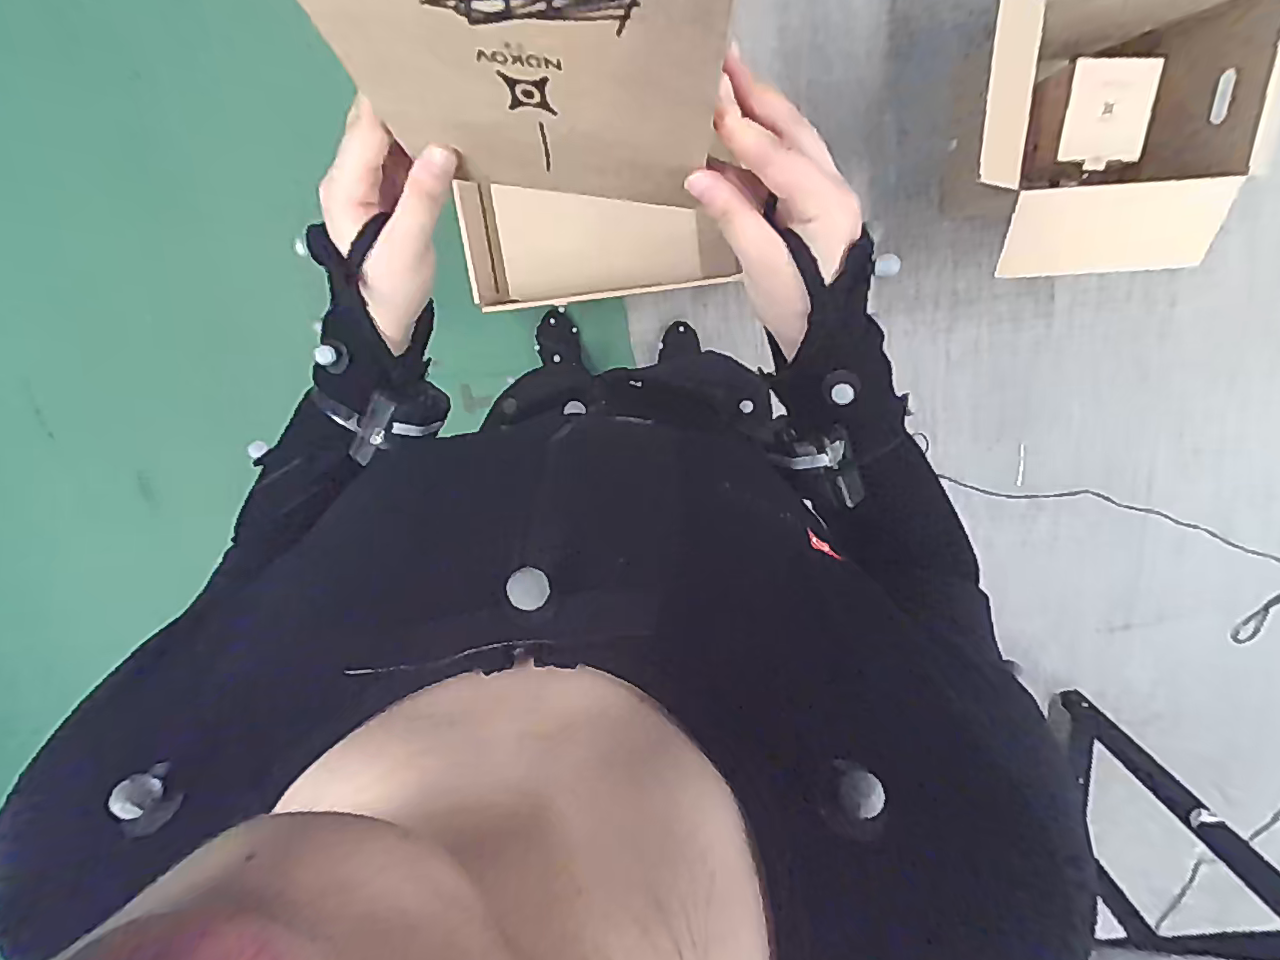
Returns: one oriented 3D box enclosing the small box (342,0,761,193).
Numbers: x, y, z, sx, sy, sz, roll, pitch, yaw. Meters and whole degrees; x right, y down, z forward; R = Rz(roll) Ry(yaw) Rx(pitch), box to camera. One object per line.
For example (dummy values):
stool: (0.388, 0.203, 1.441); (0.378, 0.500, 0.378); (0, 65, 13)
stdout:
small box: (-0.028, -0.261, 0.232); (0.168, 0.179, 0.176); (7, 88, 0)

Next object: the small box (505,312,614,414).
small box: (-0.189, -0.287, 1.319); (0.176, 0.168, 0.179); (38, 79, -37)
